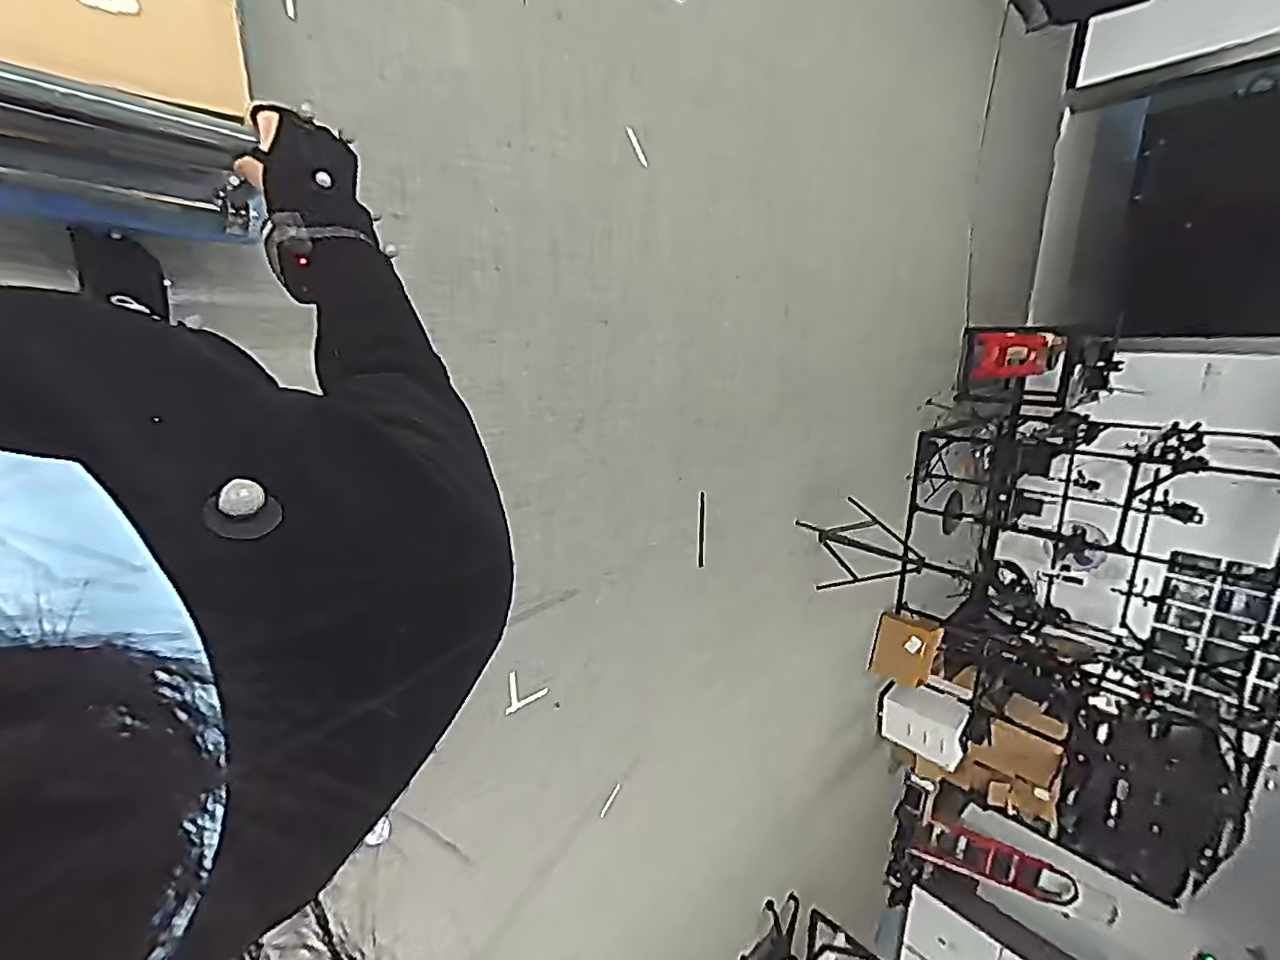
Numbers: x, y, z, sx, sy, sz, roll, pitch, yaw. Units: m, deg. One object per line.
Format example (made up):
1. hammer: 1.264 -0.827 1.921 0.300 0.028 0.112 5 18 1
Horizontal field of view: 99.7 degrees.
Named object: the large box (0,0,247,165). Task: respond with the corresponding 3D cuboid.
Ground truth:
1. large box: -0.826 -0.661 0.724 0.408 0.320 0.320 -15 111 -43
